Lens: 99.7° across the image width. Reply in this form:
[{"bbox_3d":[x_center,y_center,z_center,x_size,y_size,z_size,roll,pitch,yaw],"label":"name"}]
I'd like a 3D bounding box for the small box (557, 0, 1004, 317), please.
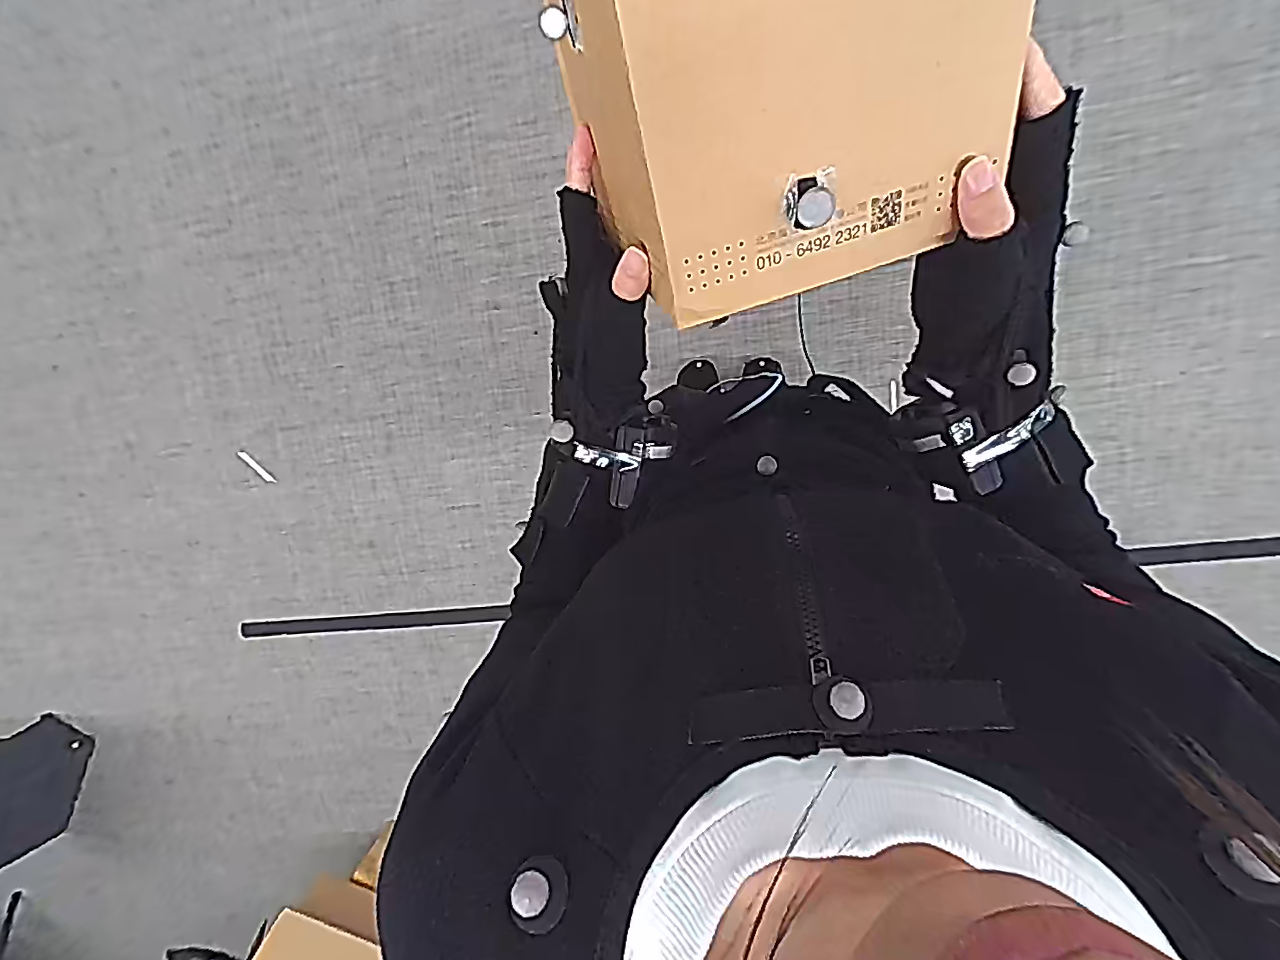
[{"bbox_3d":[0.058,-0.209,0.292,0.168,0.179,0.176,-19,128,-2],"label":"small box"}]
